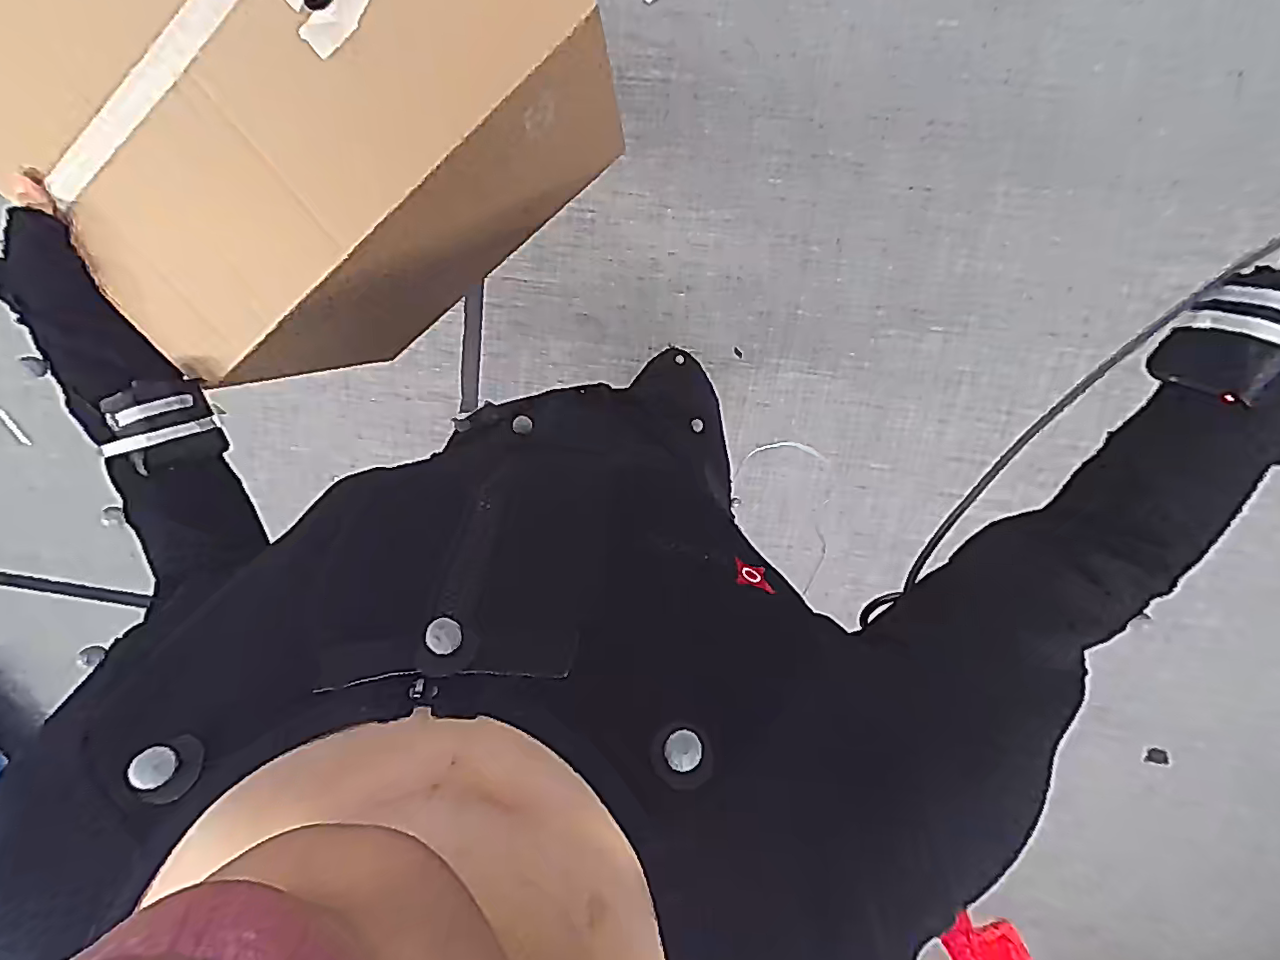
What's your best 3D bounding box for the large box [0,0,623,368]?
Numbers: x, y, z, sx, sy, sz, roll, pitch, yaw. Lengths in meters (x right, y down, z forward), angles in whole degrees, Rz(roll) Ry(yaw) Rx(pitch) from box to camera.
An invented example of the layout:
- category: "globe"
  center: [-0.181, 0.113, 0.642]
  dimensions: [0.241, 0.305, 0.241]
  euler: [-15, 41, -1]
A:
- category: "large box"
  center: [-0.269, -0.357, 0.510]
  dimensions: [0.408, 0.320, 0.320]
  euler: [-37, 102, 11]
